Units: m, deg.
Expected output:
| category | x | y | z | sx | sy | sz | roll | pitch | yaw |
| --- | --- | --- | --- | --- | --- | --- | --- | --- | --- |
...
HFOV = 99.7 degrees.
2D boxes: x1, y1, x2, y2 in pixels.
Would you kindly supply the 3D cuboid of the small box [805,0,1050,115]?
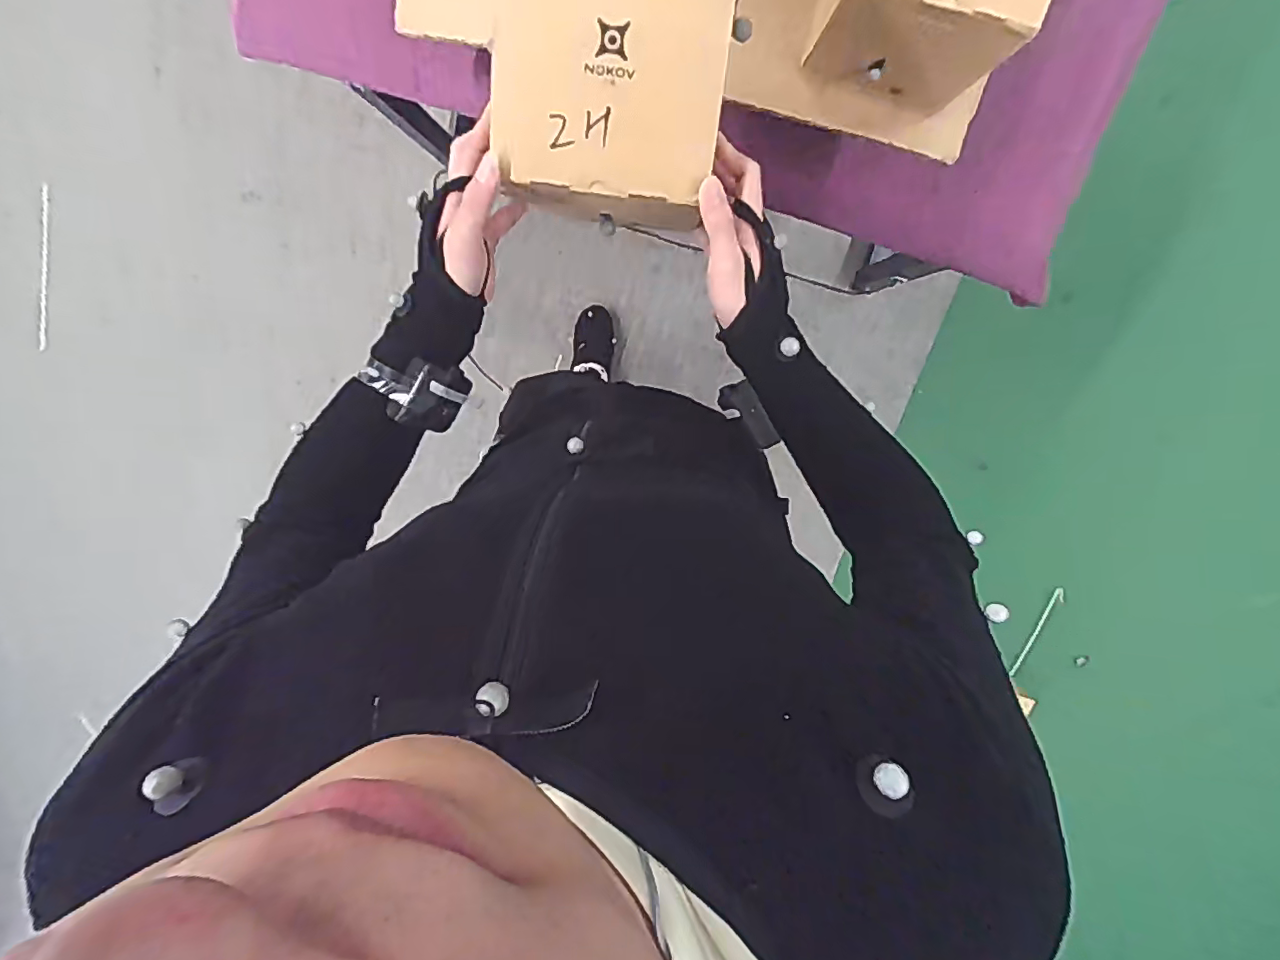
| category | x | y | z | sx | sy | sz | roll | pitch | yaw |
| --- | --- | --- | --- | --- | --- | --- | --- | --- | --- |
| small box | 0.274 | -0.489 | 0.507 | 0.168 | 0.176 | 0.179 | 13 | 104 | -3 |
